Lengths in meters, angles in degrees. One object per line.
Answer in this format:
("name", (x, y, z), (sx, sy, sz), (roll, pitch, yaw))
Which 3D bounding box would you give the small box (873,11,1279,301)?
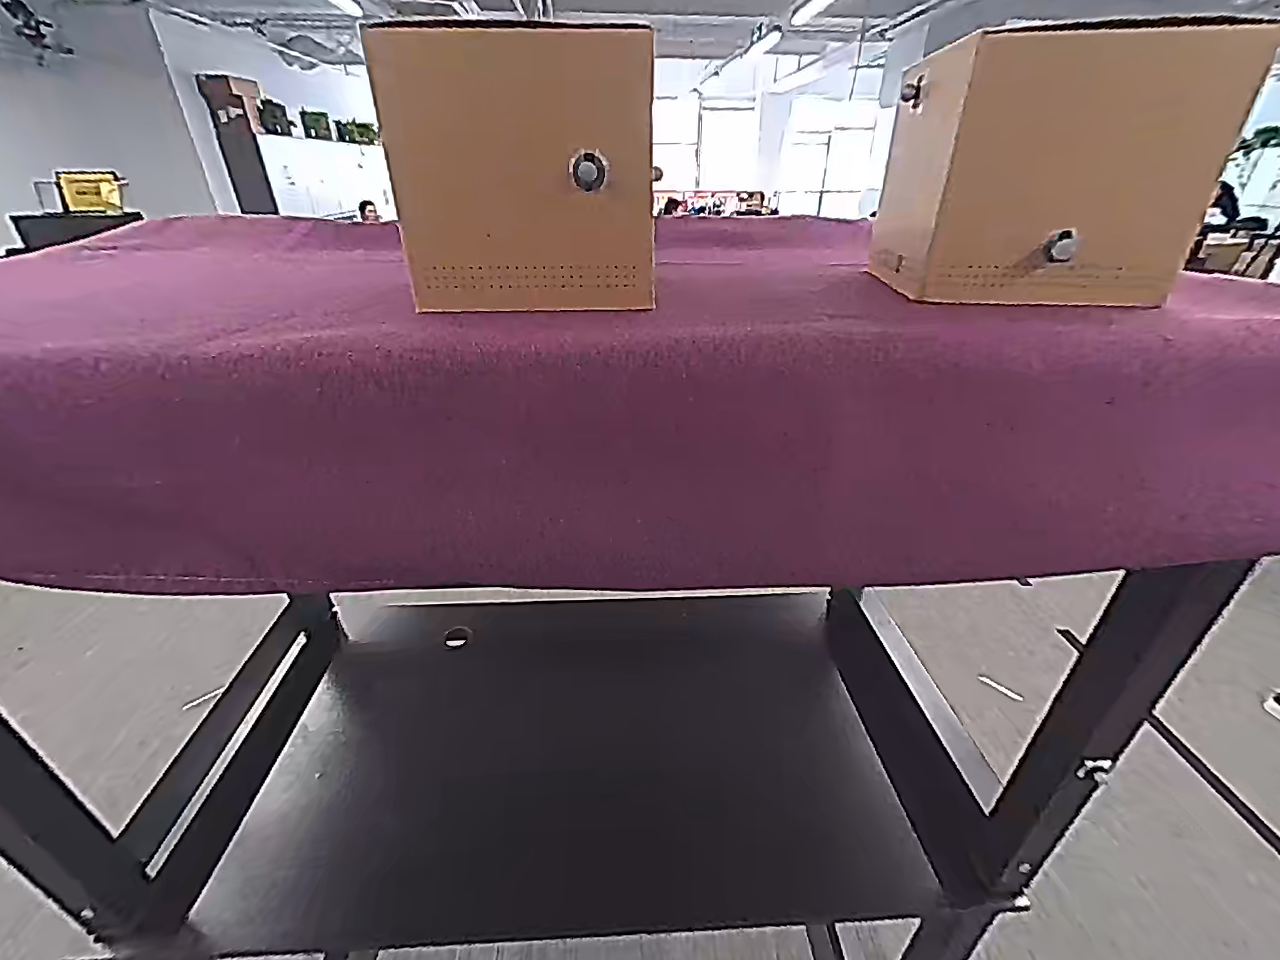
("small box", (0.309, -0.243, 0.430), (0.179, 0.176, 0.168), (4, 29, 6))

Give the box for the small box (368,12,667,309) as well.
("small box", (-0.074, -0.236, 0.423), (0.179, 0.176, 0.168), (-1, 29, -2))
